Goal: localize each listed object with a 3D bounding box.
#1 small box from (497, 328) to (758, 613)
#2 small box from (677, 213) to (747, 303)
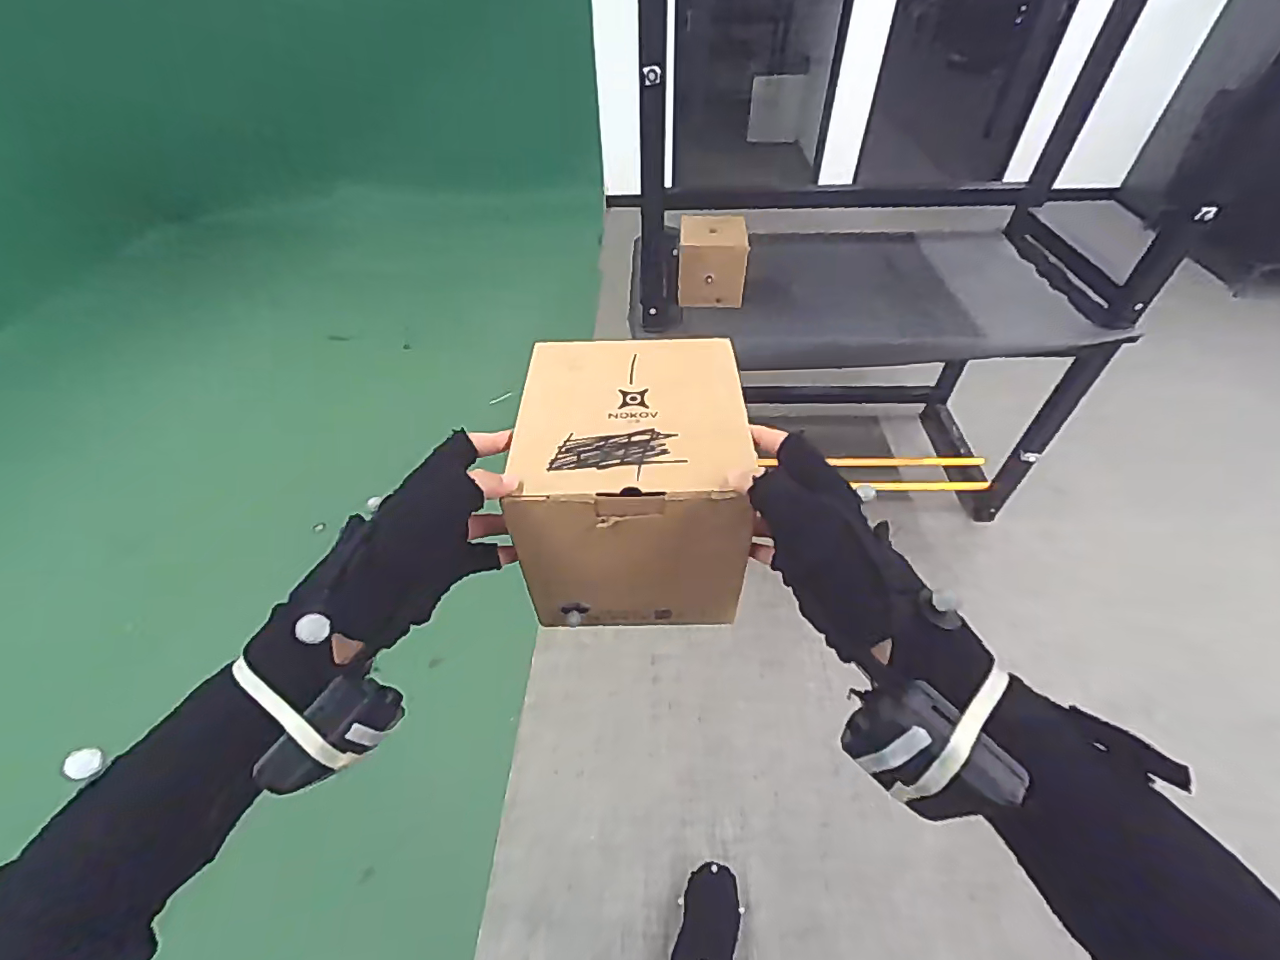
[{"bbox_3d":[-0.004,-0.004,0.444,0.168,0.176,0.179,-1,46,1],"label":"small box"},{"bbox_3d":[0.185,-0.577,1.410,0.168,0.176,0.179,3,47,3],"label":"small box"}]
